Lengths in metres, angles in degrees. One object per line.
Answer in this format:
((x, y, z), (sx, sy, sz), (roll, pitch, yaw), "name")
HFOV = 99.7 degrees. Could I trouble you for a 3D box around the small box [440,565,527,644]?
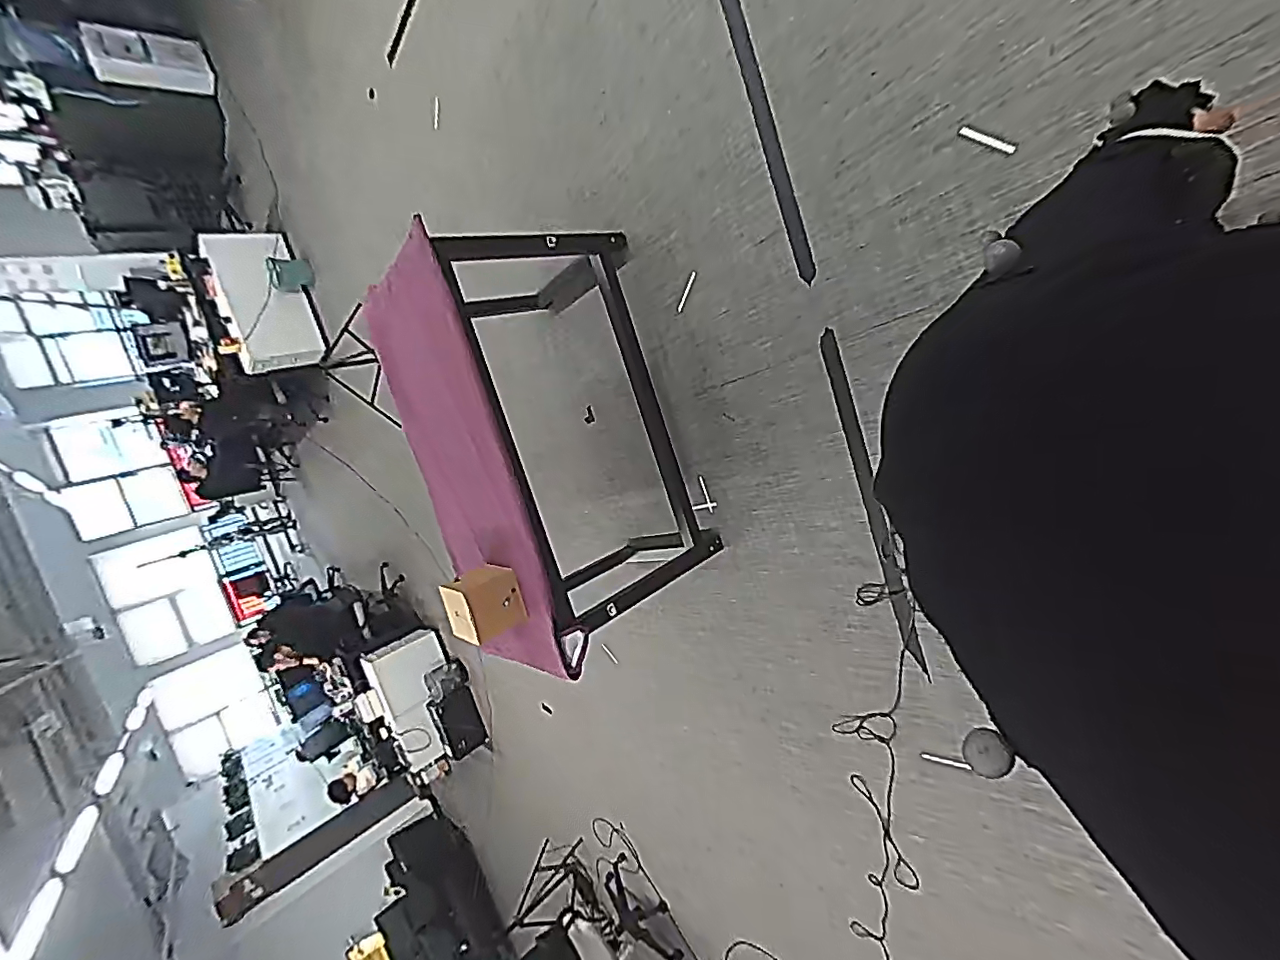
((-0.465, 0.363, 1.616), (0.179, 0.176, 0.168), (-2, 106, 48), "small box")
